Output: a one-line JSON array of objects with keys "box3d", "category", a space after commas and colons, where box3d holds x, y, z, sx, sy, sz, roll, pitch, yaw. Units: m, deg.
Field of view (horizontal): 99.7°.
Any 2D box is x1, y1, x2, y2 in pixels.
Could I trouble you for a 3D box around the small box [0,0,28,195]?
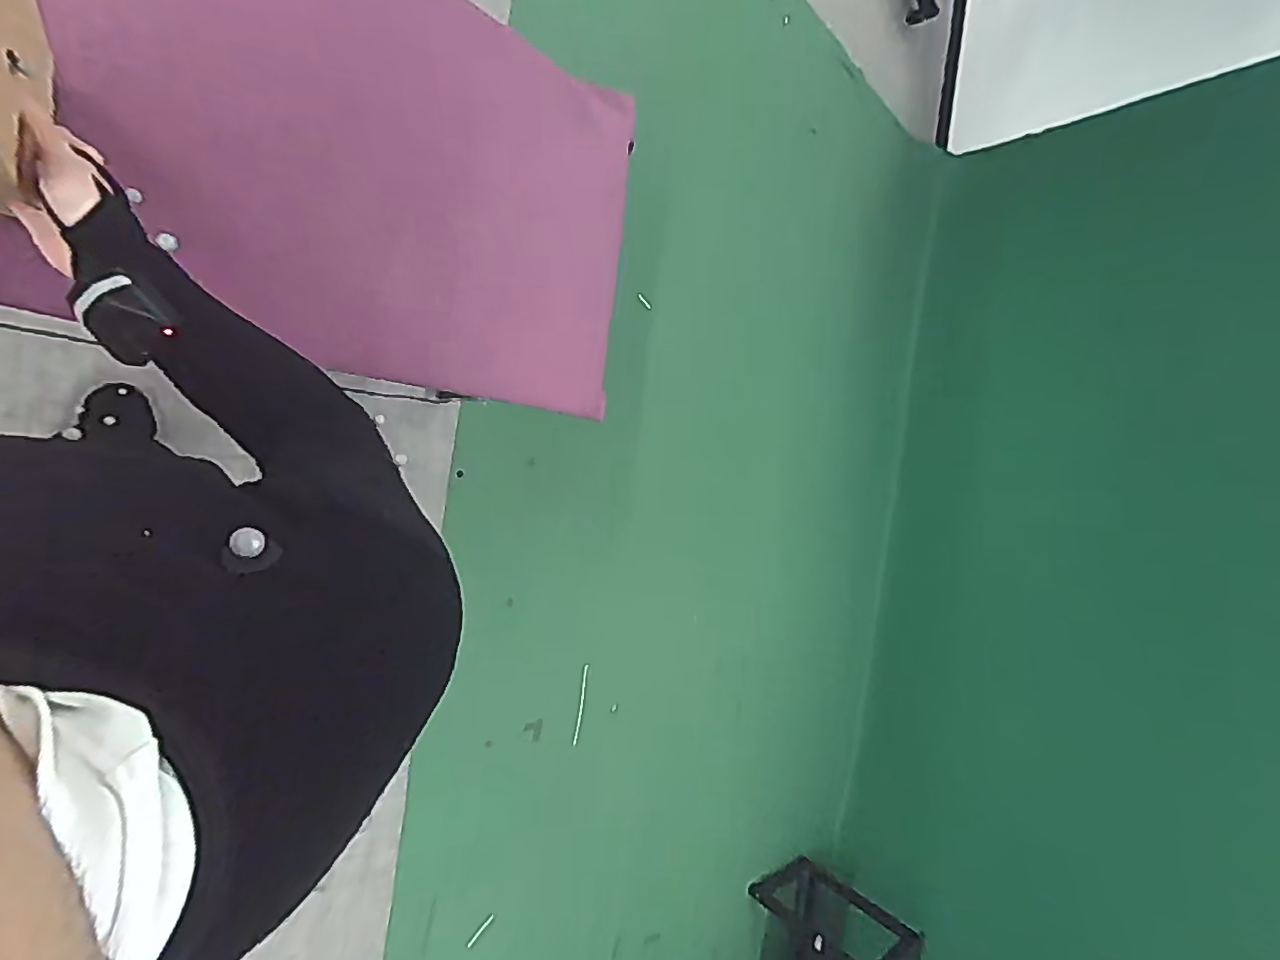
[{"box3d": [-0.538, -0.318, 0.357, 0.168, 0.176, 0.179, 3, 96, -45], "category": "small box"}]
